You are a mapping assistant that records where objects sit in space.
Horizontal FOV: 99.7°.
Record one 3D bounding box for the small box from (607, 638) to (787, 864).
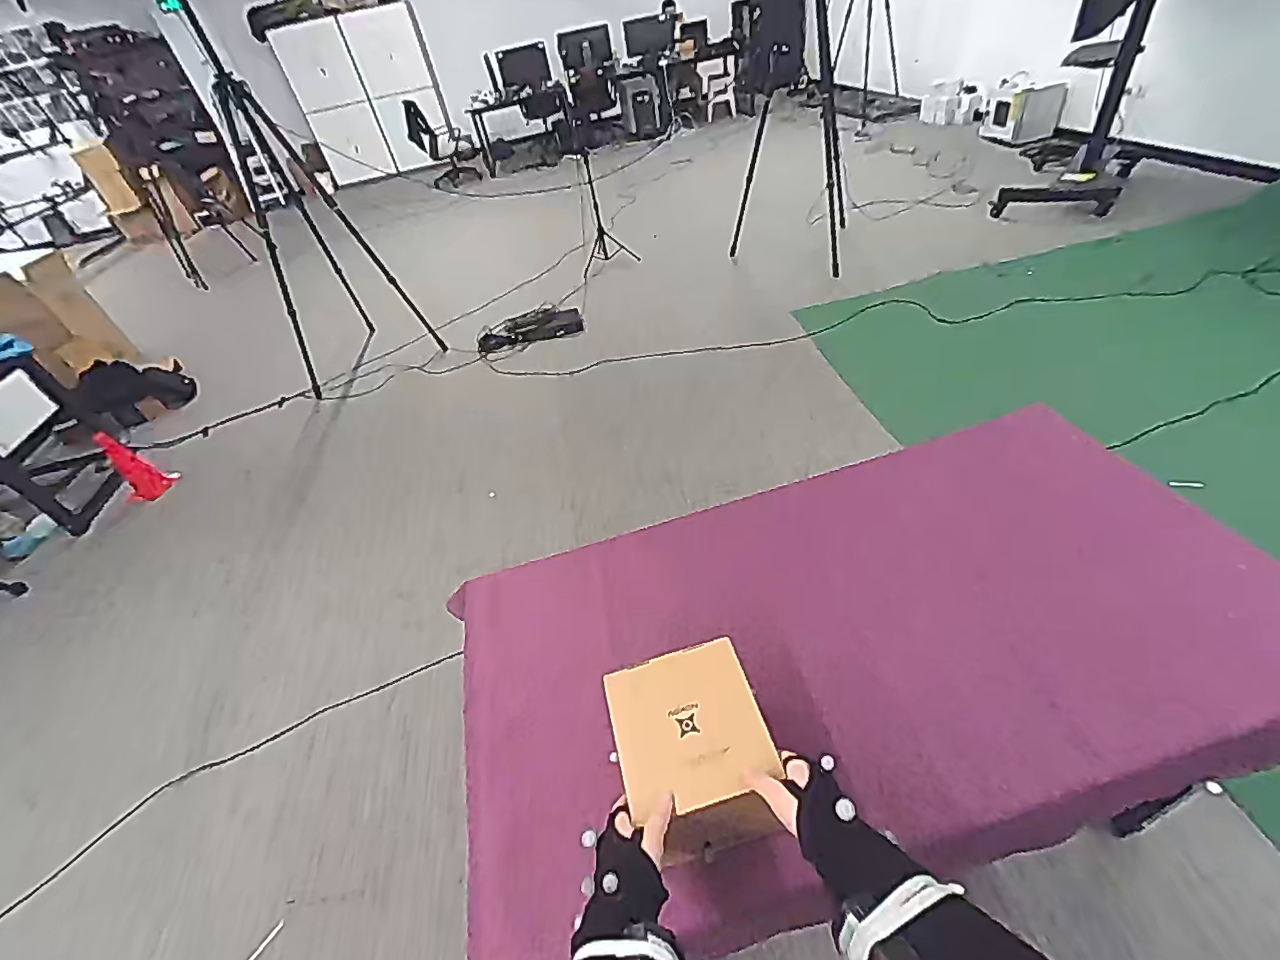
[{"bbox_3d":[0.068,0.331,0.663,0.168,0.176,0.179,-17,42,-3],"label":"small box"}]
